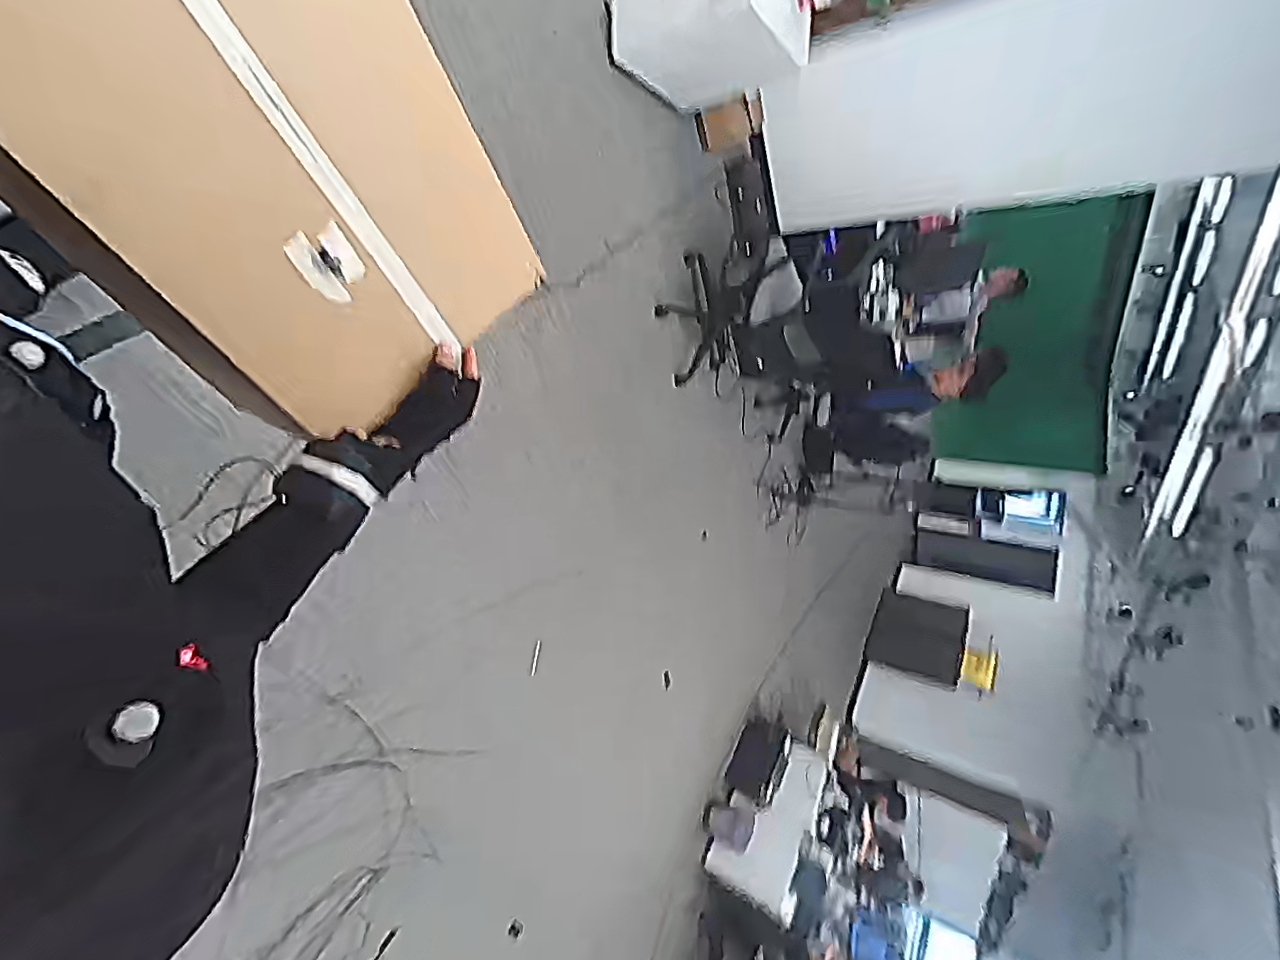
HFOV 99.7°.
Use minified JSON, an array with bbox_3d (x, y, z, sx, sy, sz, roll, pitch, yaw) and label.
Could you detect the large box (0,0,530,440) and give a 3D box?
[{"bbox_3d":[-0.393,-0.307,0.534,0.320,0.320,0.408,-53,140,-24],"label":"large box"}]
